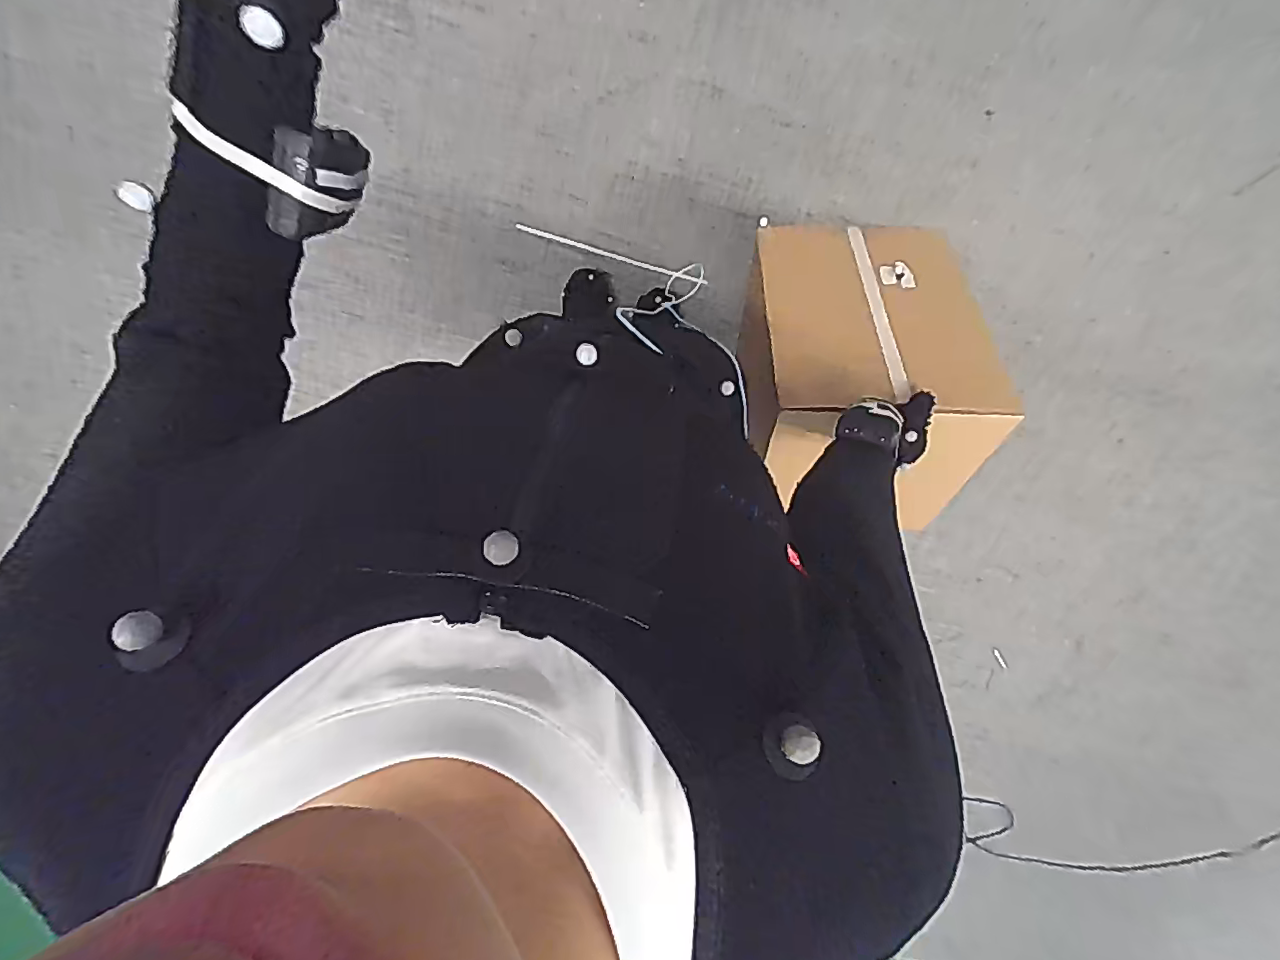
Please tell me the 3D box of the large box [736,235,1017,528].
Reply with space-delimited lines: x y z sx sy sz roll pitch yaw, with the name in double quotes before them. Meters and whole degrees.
"large box" 0.347 -0.162 0.934 0.320 0.408 0.320 3 147 1
